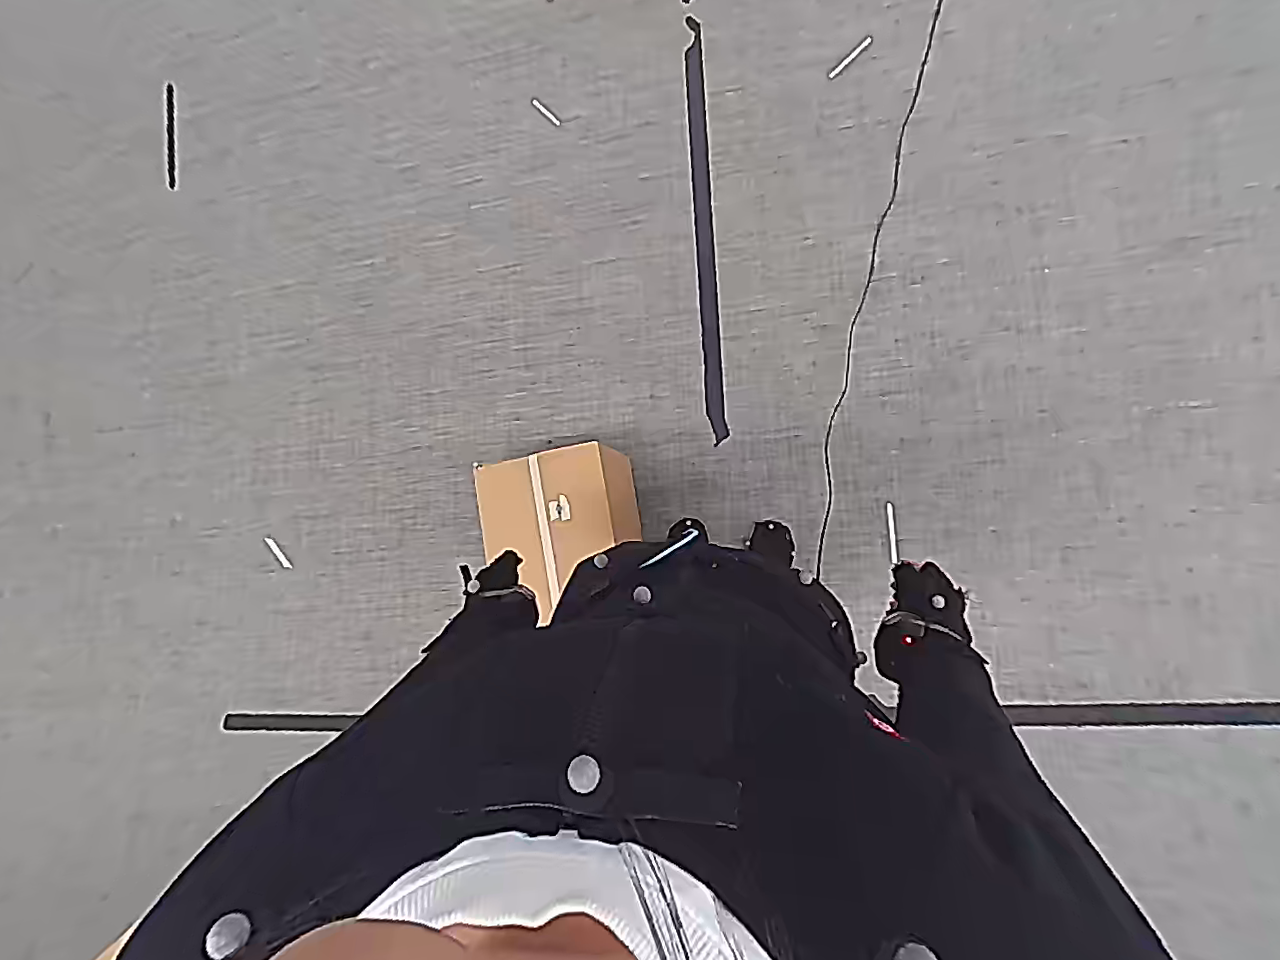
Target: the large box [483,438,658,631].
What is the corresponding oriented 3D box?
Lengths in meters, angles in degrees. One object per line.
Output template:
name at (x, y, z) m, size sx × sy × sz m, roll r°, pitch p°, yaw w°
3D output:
large box at (-0.162, 0.140, 1.380) m, size 0.320 × 0.320 × 0.408 m, roll -11°, pitch 83°, yaw 11°
